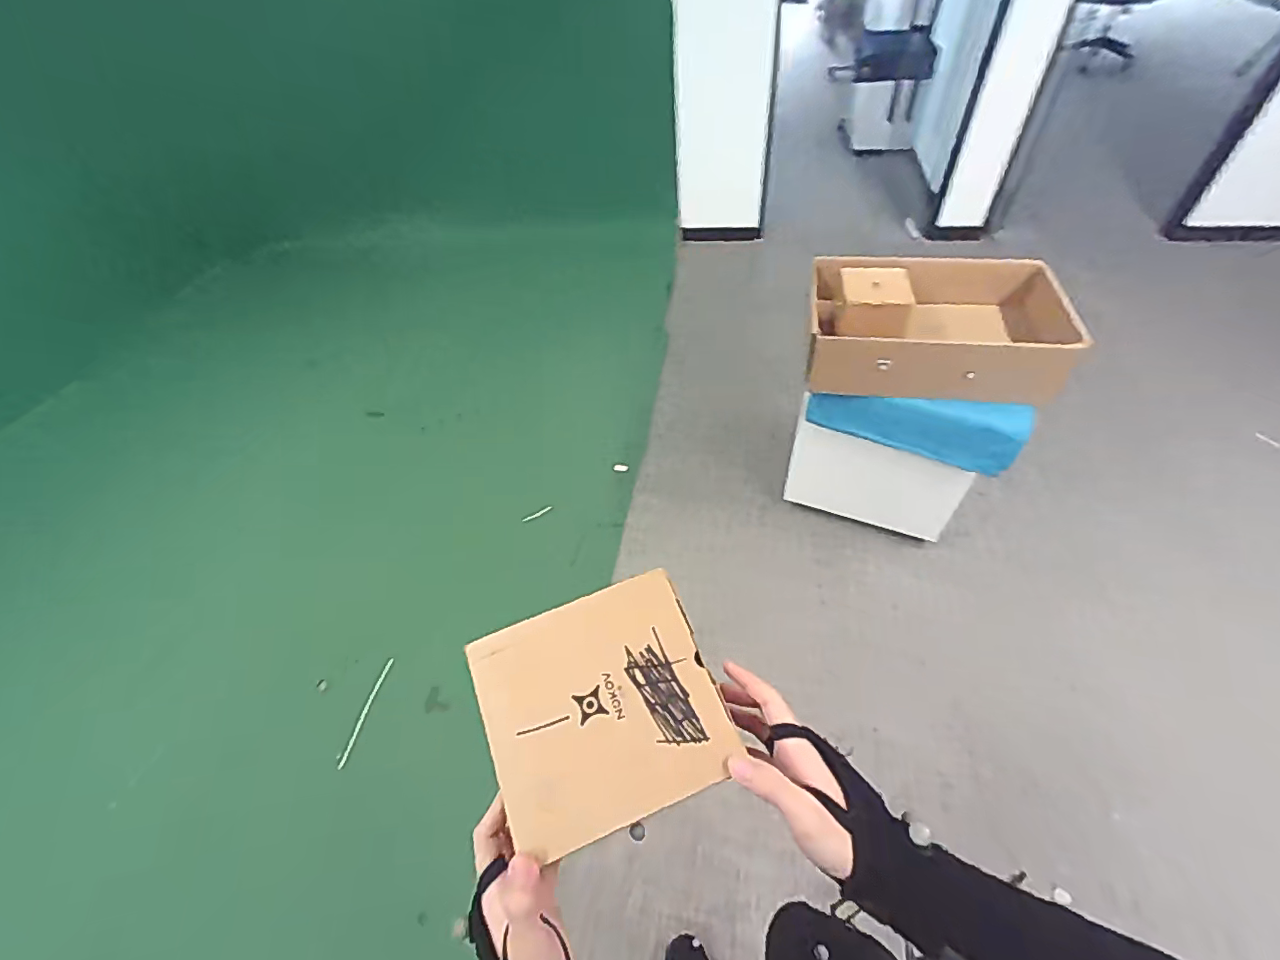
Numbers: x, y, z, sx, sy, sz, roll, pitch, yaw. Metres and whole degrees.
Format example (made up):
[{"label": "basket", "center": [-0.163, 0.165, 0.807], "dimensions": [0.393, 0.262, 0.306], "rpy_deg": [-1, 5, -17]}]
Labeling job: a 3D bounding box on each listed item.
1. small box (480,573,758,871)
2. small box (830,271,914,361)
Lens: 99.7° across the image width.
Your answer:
[{"label": "small box", "center": [-0.021, 0.209, 0.481], "dimensions": [0.179, 0.176, 0.168], "rpy_deg": [-19, 62, -9]}, {"label": "small box", "center": [0.620, -0.446, 1.469], "dimensions": [0.168, 0.176, 0.179], "rpy_deg": [4, 50, 9]}]
